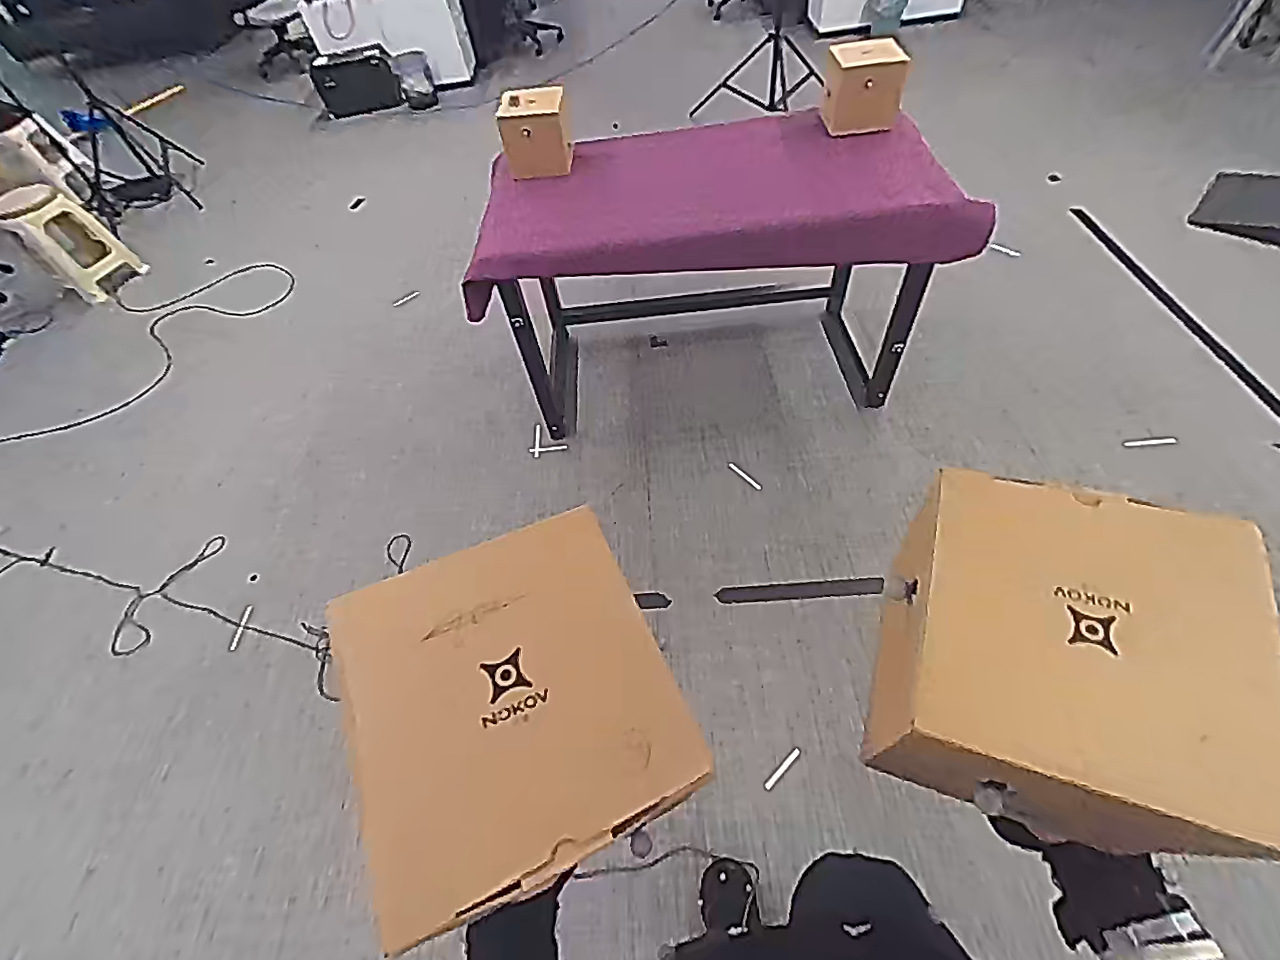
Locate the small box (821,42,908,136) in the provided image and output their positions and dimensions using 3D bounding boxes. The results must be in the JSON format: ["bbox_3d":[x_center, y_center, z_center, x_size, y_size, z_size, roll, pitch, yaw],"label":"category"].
[{"bbox_3d":[0.620,-1.096,1.524,0.179,0.176,0.168,-4,55,3],"label":"small box"}]

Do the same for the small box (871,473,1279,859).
[{"bbox_3d":[0.262,0.124,0.362,0.168,0.176,0.179,12,59,19],"label":"small box"}]

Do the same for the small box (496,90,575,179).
[{"bbox_3d":[-0.296,-0.997,1.568,0.179,0.176,0.168,-2,56,4],"label":"small box"}]

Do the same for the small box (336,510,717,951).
[{"bbox_3d":[-0.071,0.155,0.359,0.168,0.176,0.179,-20,58,-17],"label":"small box"}]
